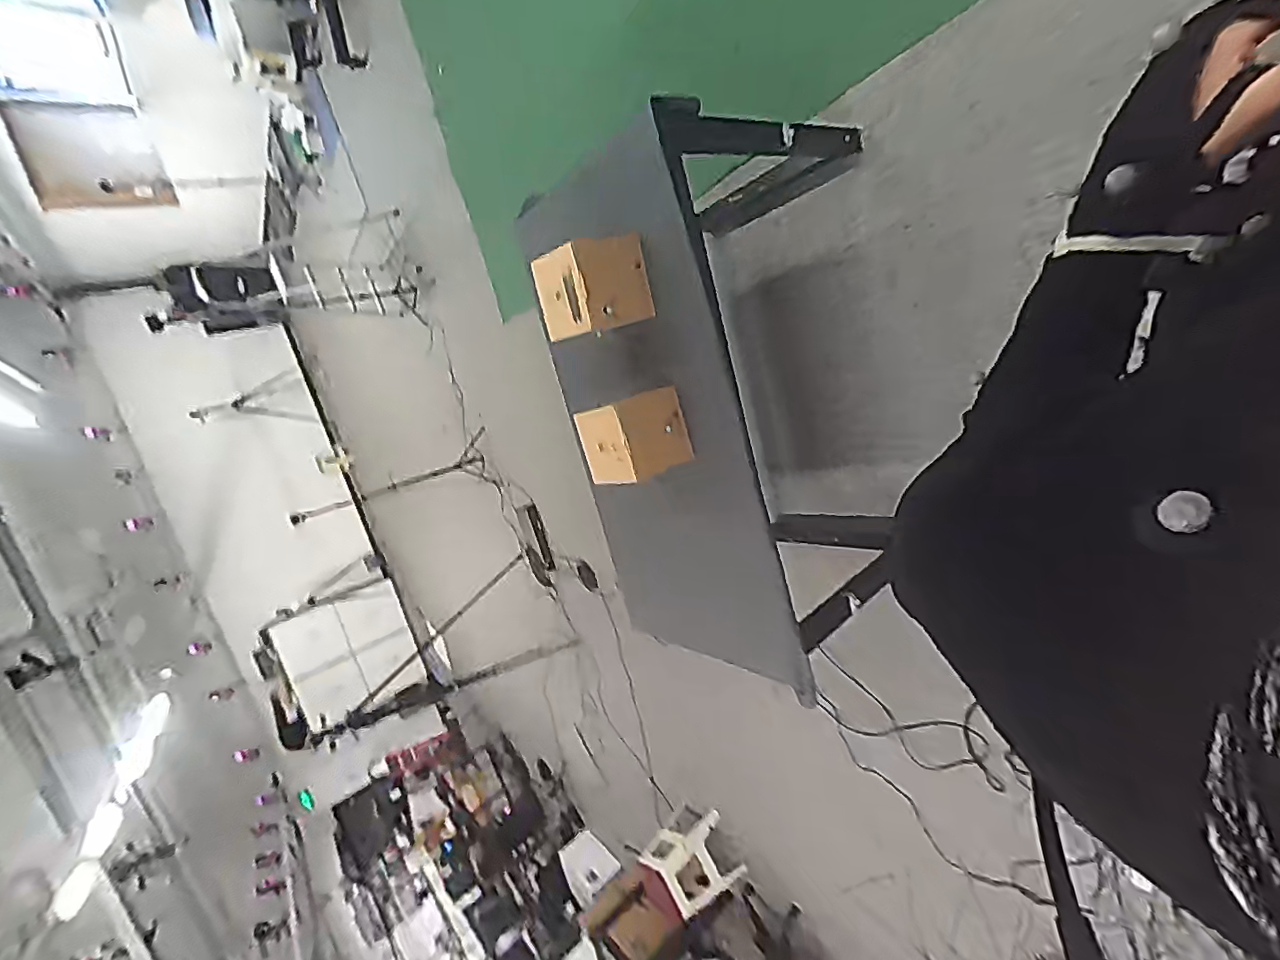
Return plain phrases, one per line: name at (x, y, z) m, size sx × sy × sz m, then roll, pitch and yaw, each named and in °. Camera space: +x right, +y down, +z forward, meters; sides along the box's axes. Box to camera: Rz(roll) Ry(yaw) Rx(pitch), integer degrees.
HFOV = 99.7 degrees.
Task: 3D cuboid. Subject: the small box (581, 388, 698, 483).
small box at (-0.001, -0.098, 1.207) m, size 0.179 × 0.176 × 0.168 m, roll -3°, pitch 107°, yaw 55°
